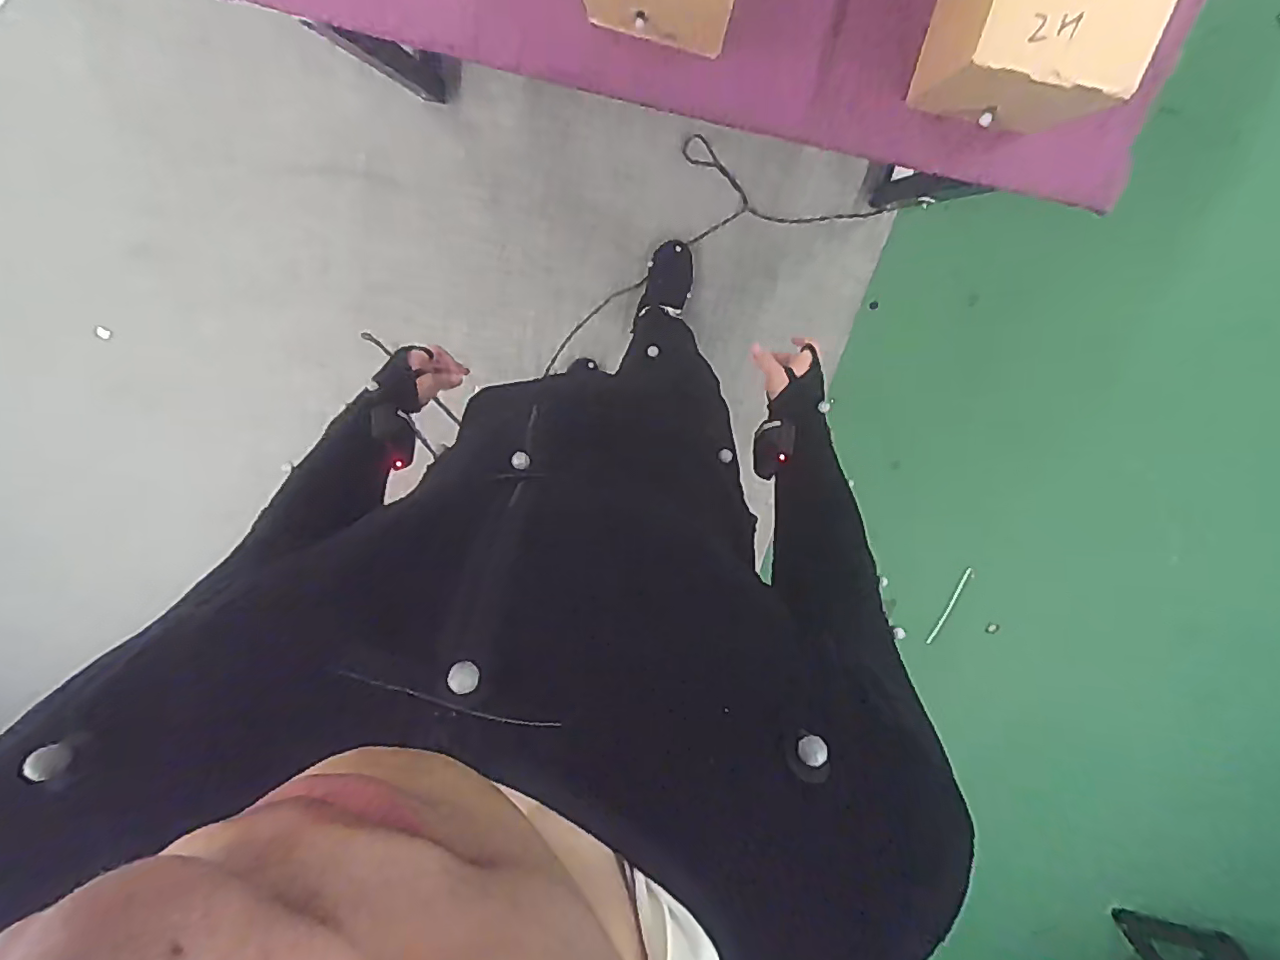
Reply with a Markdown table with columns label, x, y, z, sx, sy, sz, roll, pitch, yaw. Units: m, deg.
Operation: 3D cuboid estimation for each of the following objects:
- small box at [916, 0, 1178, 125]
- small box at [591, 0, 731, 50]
| label | x | y | z | sx | sy | sz | roll | pitch | yaw |
| --- | --- | --- | --- | --- | --- | --- | --- | --- | --- |
| small box | 0.419 | -0.500 | 0.559 | 0.168 | 0.176 | 0.179 | 12 | 114 | 0 |
| small box | 0.032 | -0.587 | 0.548 | 0.168 | 0.176 | 0.179 | 13 | 113 | -3 |
